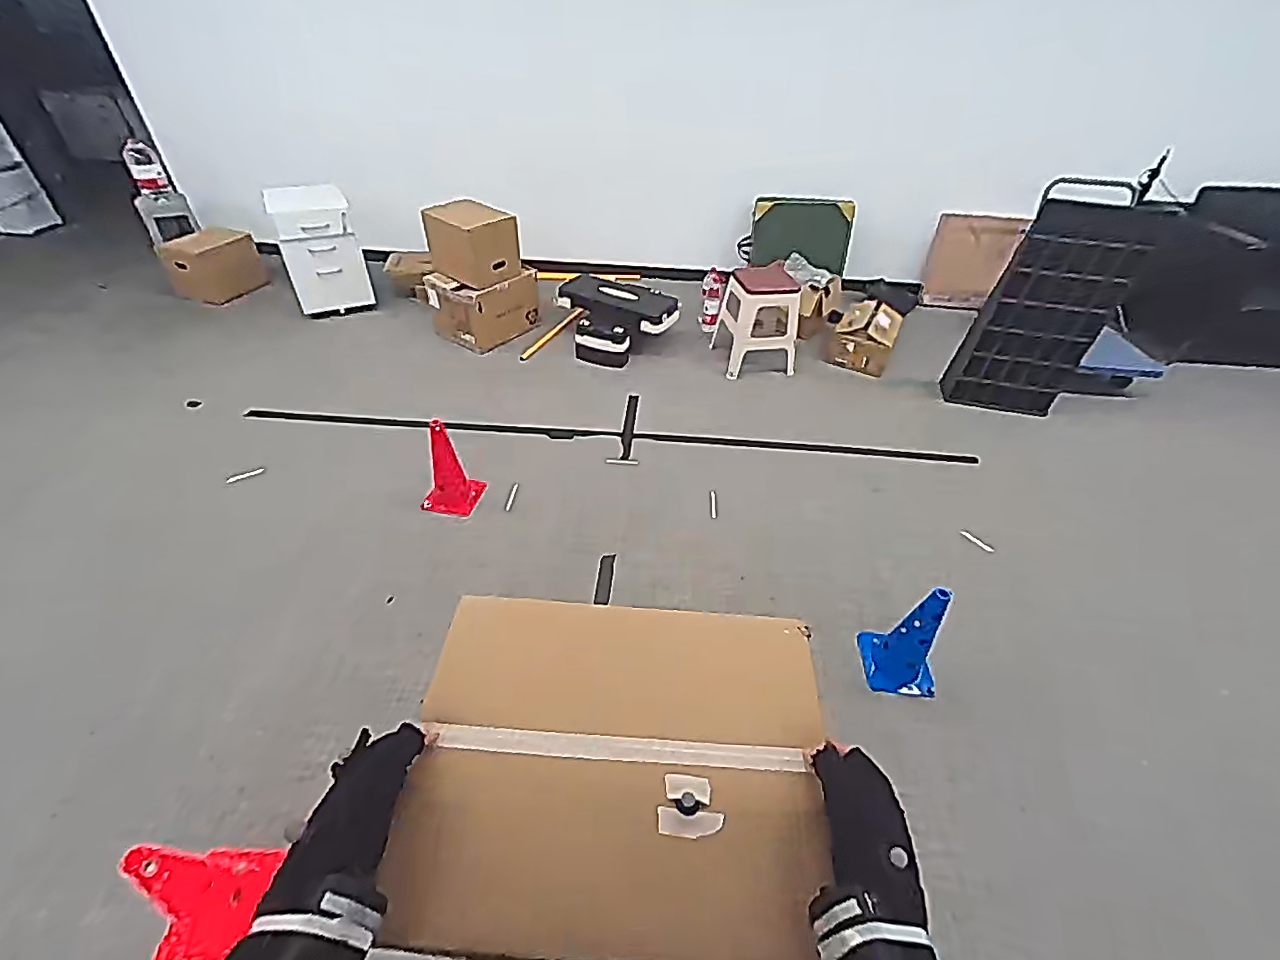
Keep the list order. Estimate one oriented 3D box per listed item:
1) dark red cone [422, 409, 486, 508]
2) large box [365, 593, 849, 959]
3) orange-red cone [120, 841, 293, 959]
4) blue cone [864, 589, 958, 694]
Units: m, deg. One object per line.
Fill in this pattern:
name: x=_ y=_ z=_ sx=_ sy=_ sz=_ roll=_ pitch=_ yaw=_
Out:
dark red cone: x=-0.714 y=-0.090 z=2.006 sx=0.201 sy=0.394 sz=0.202 roll=9 pitch=42 yaw=5
large box: x=-0.027 y=0.359 z=0.644 sx=0.408 sy=0.320 sz=0.320 roll=4 pitch=47 yaw=1
orange-red cone: x=-0.879 y=0.775 z=1.049 sx=0.198 sy=0.360 sz=0.199 roll=2 pitch=43 yaw=0
blue cone: x=0.804 y=0.442 z=1.557 sx=0.192 sy=0.380 sz=0.193 roll=7 pitch=42 yaw=3
